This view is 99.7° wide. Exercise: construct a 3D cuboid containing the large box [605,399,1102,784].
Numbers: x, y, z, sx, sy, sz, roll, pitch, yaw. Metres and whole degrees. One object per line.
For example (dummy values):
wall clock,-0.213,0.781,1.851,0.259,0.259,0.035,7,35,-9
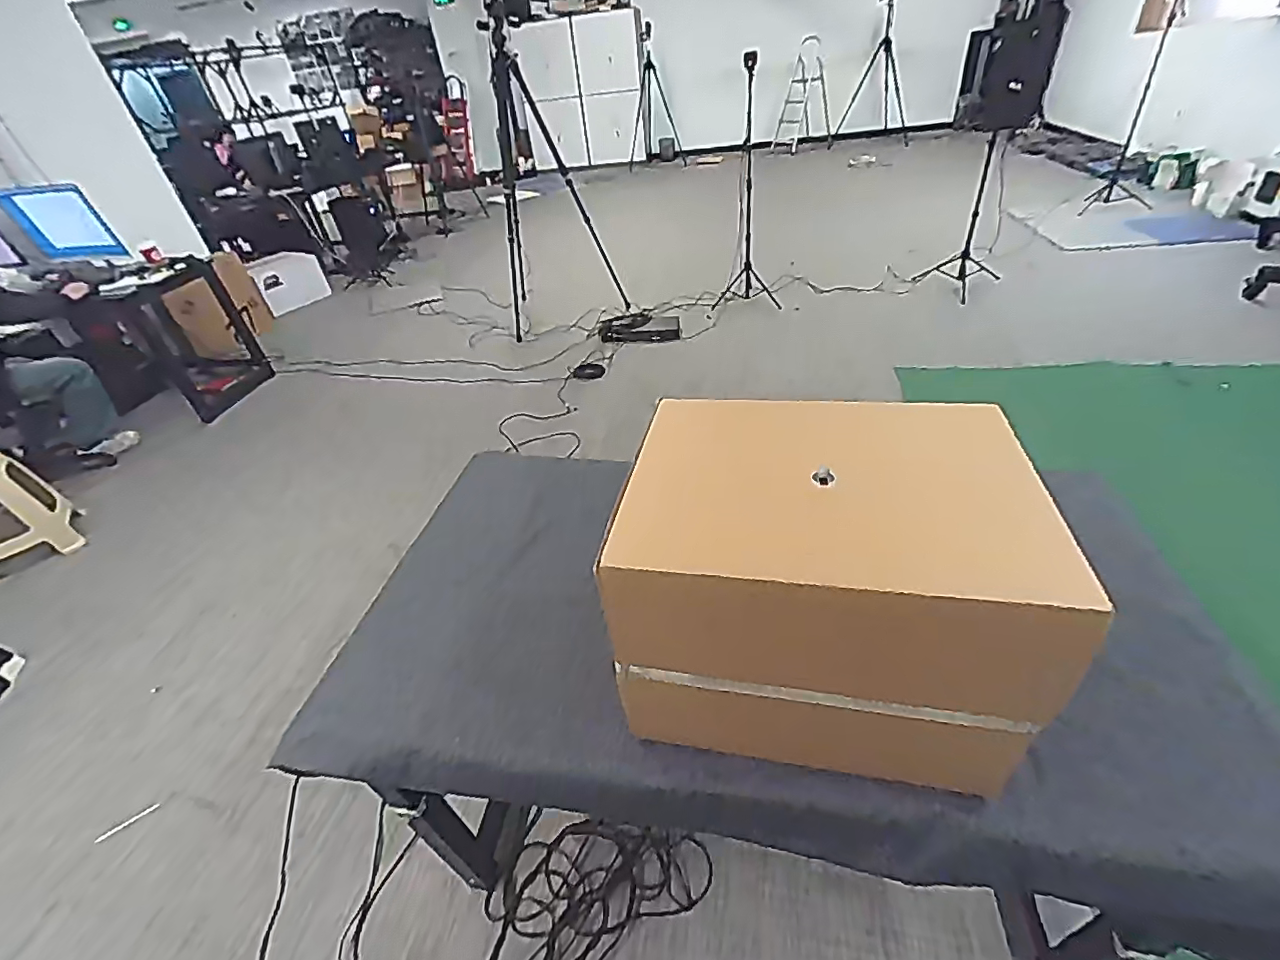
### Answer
large box,0.203,0.116,0.650,0.408,0.320,0.320,3,38,12
